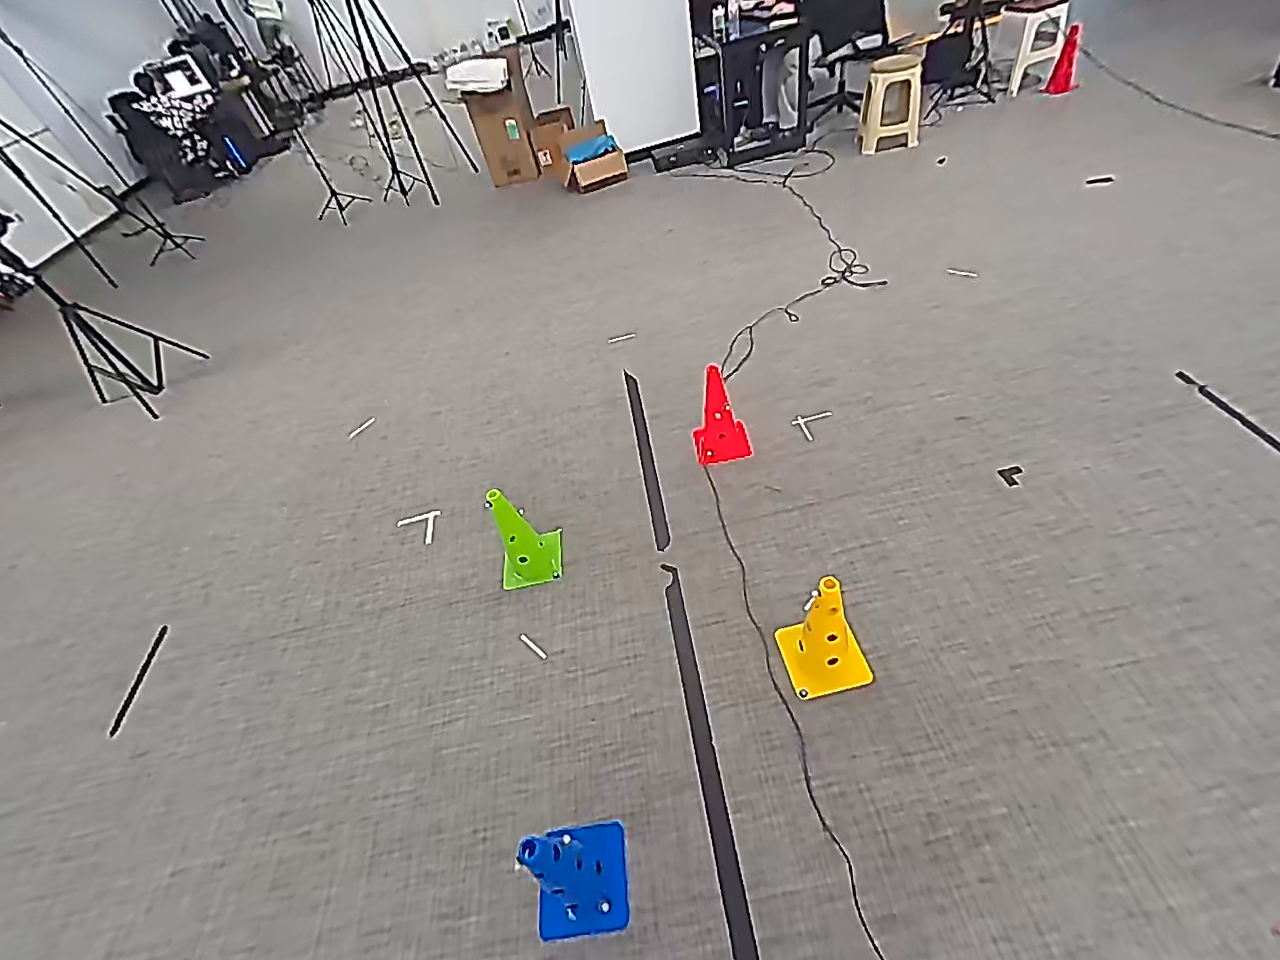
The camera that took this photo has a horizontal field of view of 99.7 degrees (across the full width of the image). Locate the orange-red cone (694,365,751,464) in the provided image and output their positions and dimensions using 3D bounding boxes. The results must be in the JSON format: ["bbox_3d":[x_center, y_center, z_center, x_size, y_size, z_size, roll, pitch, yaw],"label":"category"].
[{"bbox_3d":[0.277,-0.255,1.919,0.199,0.360,0.198,-9,48,5],"label":"orange-red cone"}]

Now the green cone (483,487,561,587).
[{"bbox_3d":[-0.402,0.149,1.720,0.202,0.368,0.200,-14,46,4],"label":"green cone"}]

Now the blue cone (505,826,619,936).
[{"bbox_3d":[-0.174,0.779,1.091,0.192,0.380,0.193,-11,46,6],"label":"blue cone"}]
